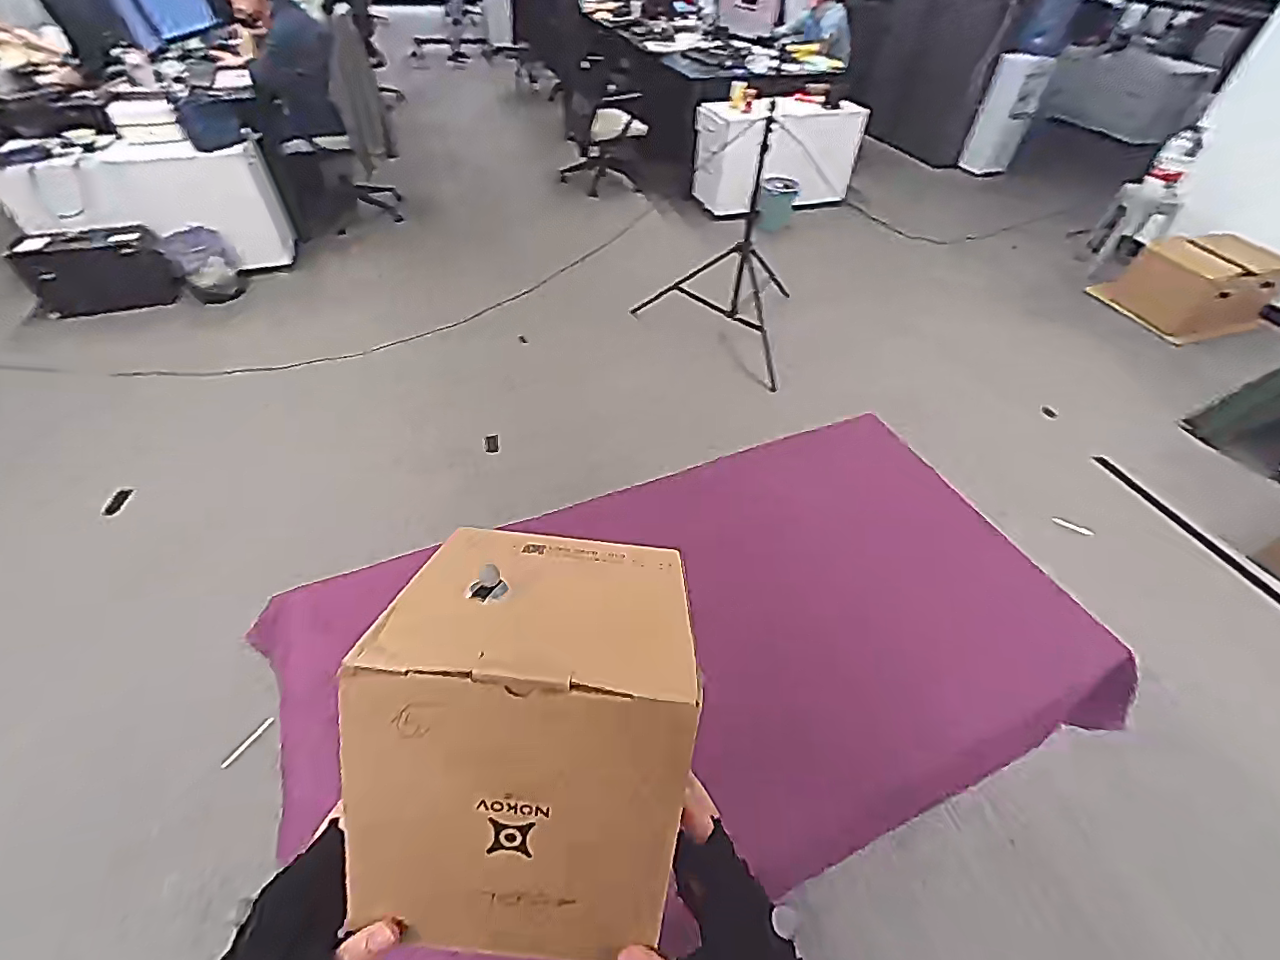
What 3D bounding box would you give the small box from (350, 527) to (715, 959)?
[{"bbox_3d":[-0.056,0.143,0.339,0.168,0.179,0.176,7,18,0],"label":"small box"}]
